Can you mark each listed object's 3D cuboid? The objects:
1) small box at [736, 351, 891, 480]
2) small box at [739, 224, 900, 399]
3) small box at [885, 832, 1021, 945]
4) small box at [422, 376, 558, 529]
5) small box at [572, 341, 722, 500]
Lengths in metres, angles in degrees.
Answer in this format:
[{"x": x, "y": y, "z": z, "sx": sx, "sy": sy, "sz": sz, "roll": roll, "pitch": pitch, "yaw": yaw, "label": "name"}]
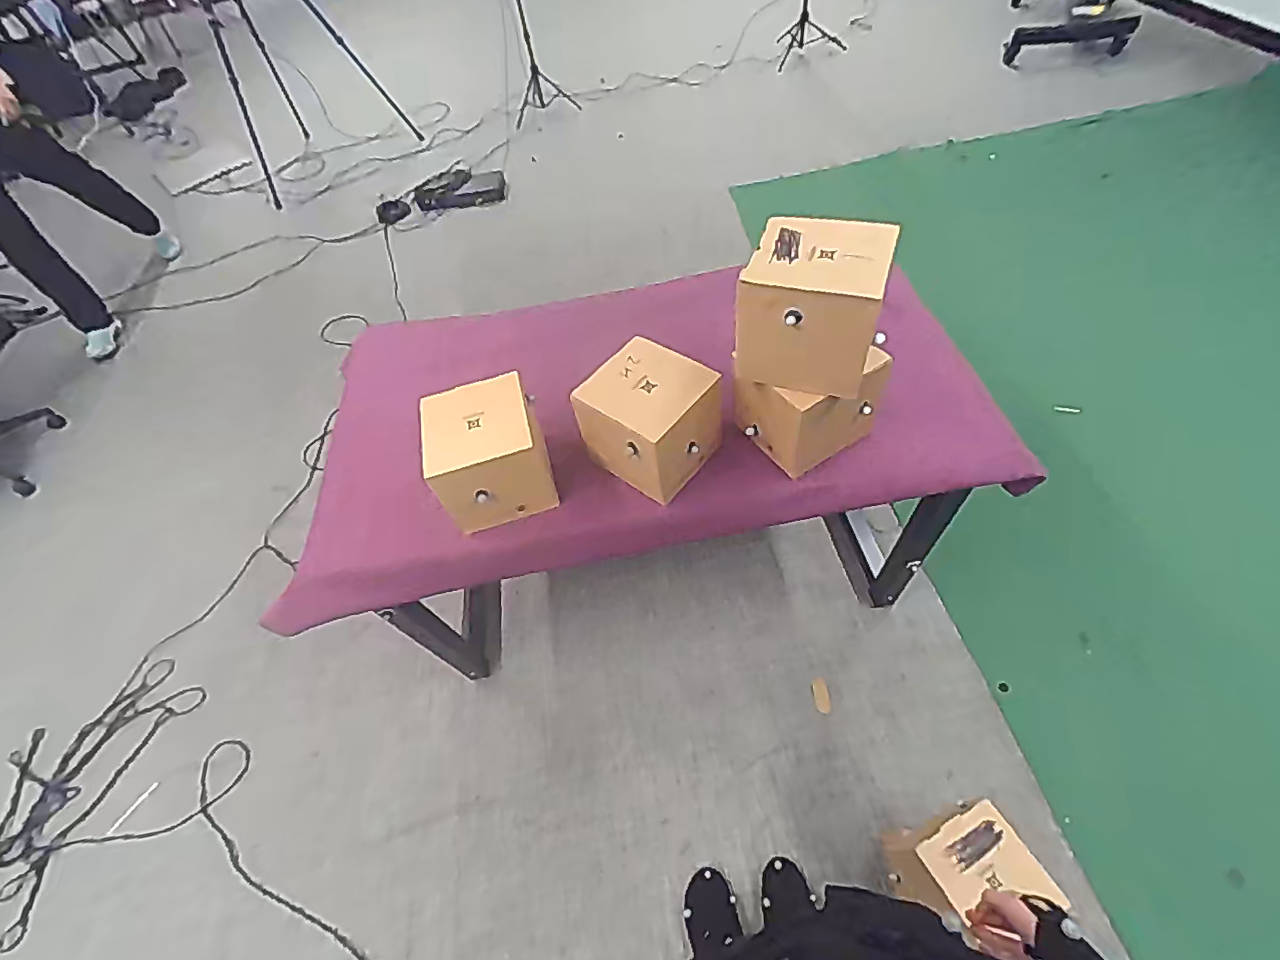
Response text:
[{"x": 0.272, "y": -0.135, "z": 0.892, "sx": 0.179, "sy": 0.176, "sz": 0.168, "roll": -30, "pitch": 54, "yaw": -12, "label": "small box"}, {"x": 0.245, "y": -0.236, "z": 0.766, "sx": 0.179, "sy": 0.176, "sz": 0.168, "roll": 15, "pitch": 56, "yaw": 19, "label": "small box"}, {"x": 0.605, "y": 0.807, "z": 1.078, "sx": 0.179, "sy": 0.176, "sz": 0.168, "roll": -3, "pitch": 55, "yaw": 6, "label": "small box"}, {"x": -0.244, "y": -0.037, "z": 0.897, "sx": 0.168, "sy": 0.176, "sz": 0.179, "roll": -17, "pitch": 53, "yaw": -4, "label": "small box"}, {"x": 0.019, "y": -0.092, "z": 0.896, "sx": 0.179, "sy": 0.176, "sz": 0.168, "roll": 32, "pitch": 64, "yaw": 27, "label": "small box"}]
